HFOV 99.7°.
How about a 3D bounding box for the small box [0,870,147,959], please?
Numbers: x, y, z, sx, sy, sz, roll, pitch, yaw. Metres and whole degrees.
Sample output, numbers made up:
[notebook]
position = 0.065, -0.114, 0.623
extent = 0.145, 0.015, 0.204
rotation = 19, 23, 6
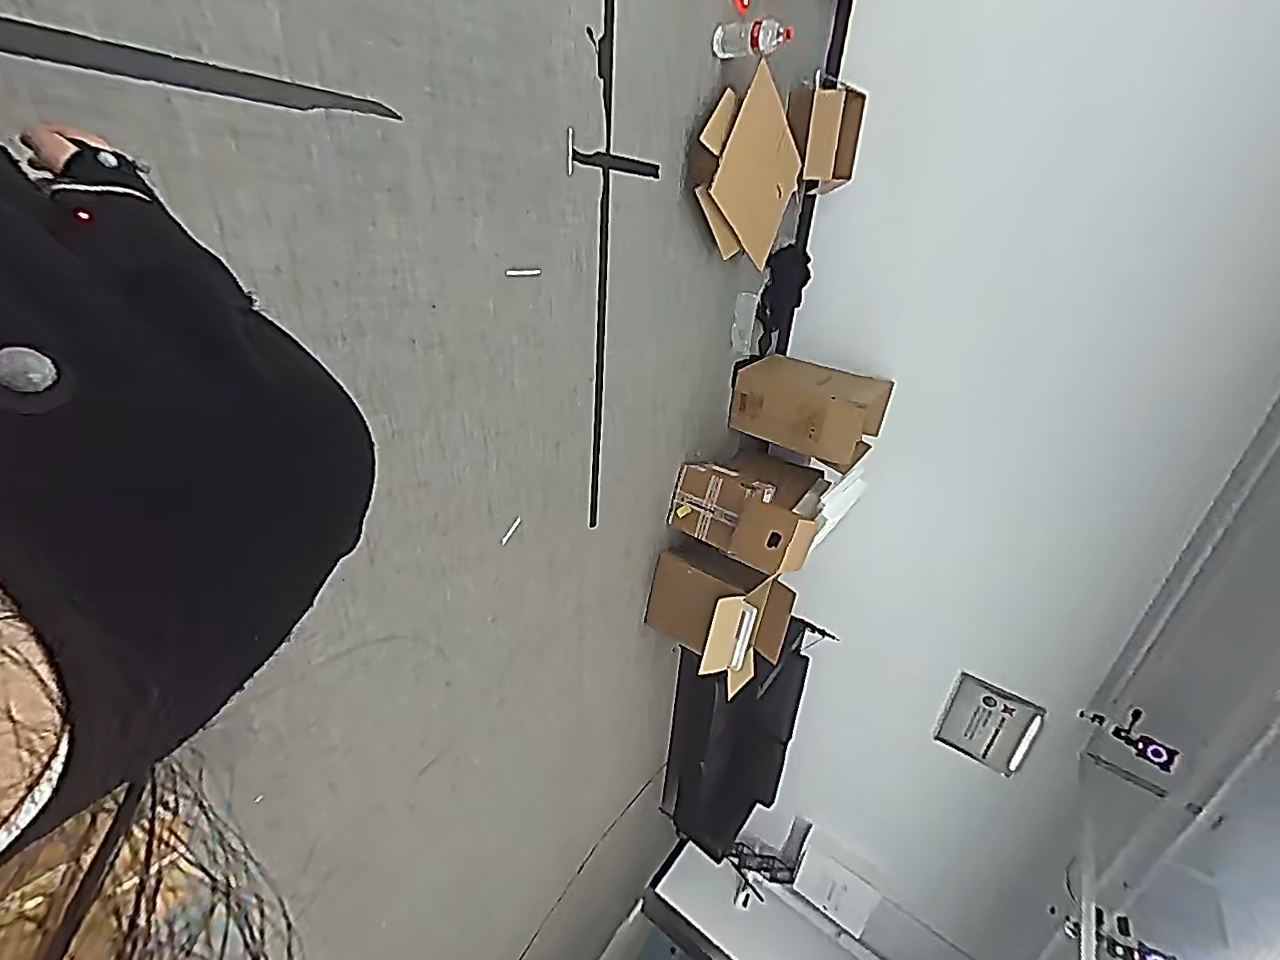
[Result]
[small box]
position = -1.120, 0.921, 1.051
extent = 0.179, 0.176, 0.168
rotation = -28, 129, -46
